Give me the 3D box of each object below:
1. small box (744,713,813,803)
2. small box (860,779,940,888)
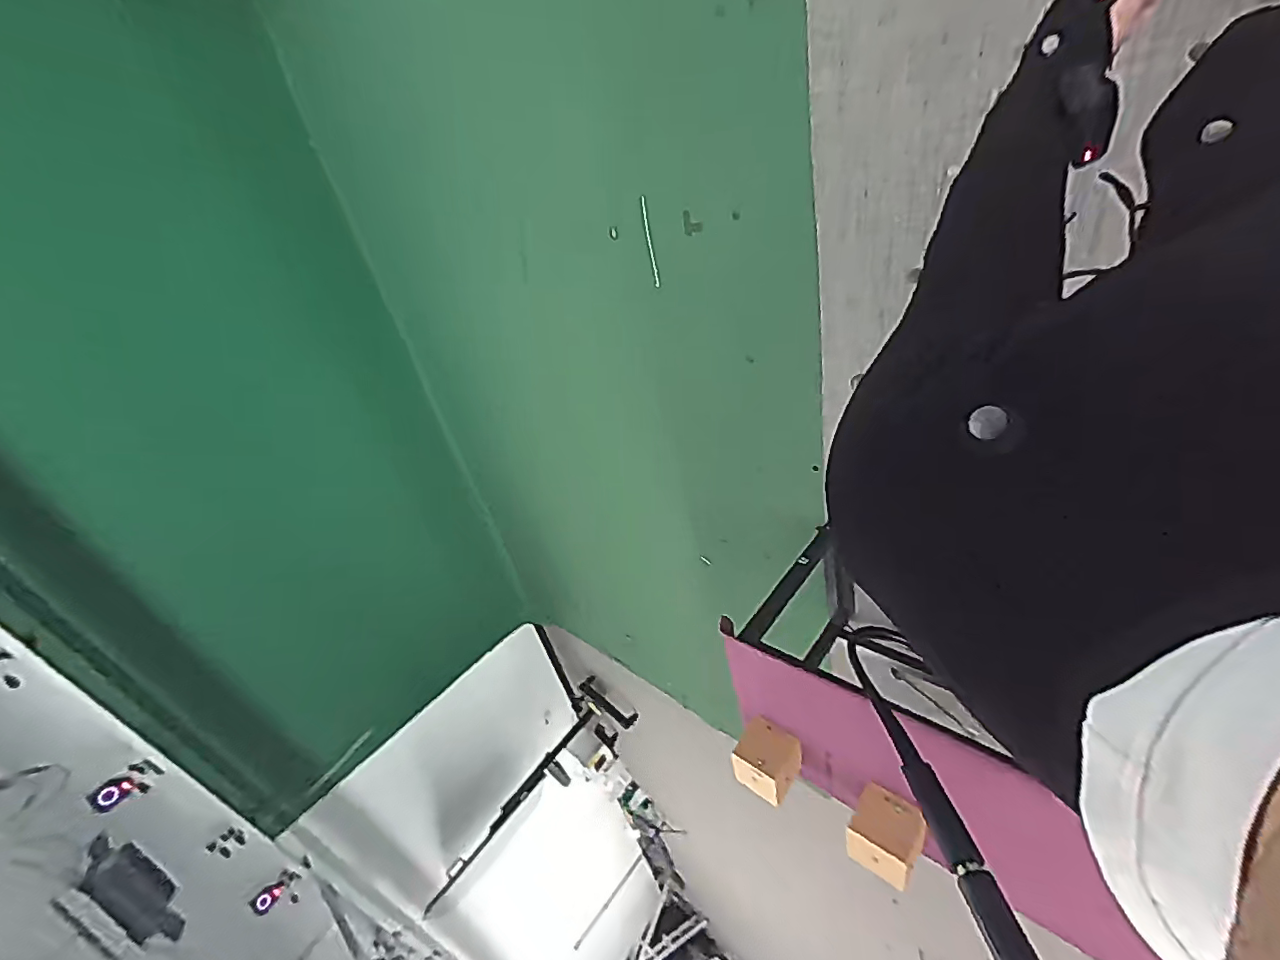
[{"bbox_3d":[0.473,0.934,1.827,0.168,0.176,0.179,17,135,39],"label":"small box"},{"bbox_3d":[0.756,1.022,1.573,0.168,0.176,0.179,17,133,40],"label":"small box"}]
